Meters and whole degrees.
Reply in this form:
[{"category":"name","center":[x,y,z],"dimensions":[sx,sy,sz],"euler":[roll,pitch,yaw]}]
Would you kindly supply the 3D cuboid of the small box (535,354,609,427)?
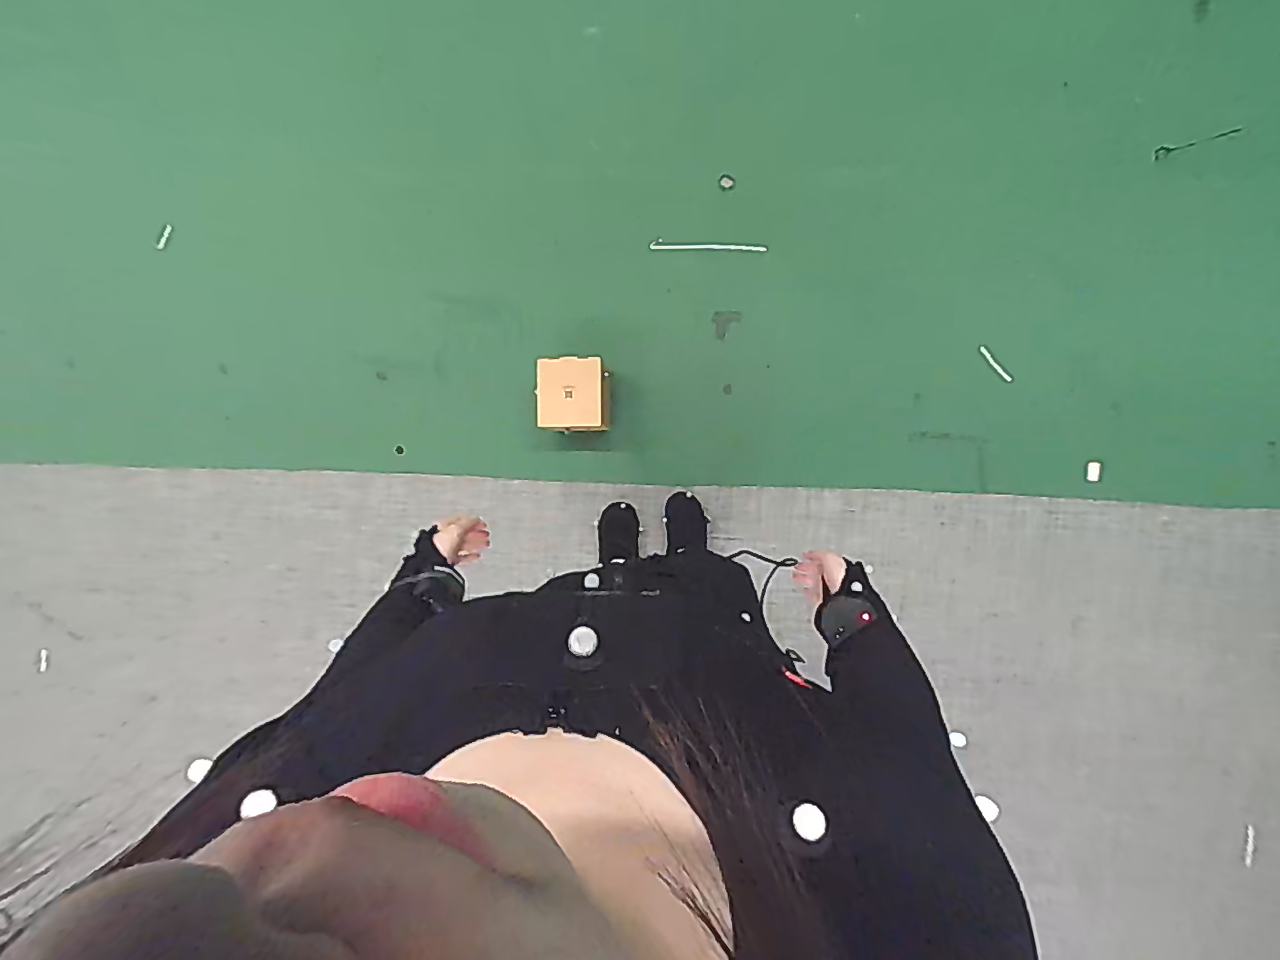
[{"category":"small box","center":[-0.174,-0.231,1.433],"dimensions":[0.168,0.176,0.179],"euler":[0,92,5]}]
